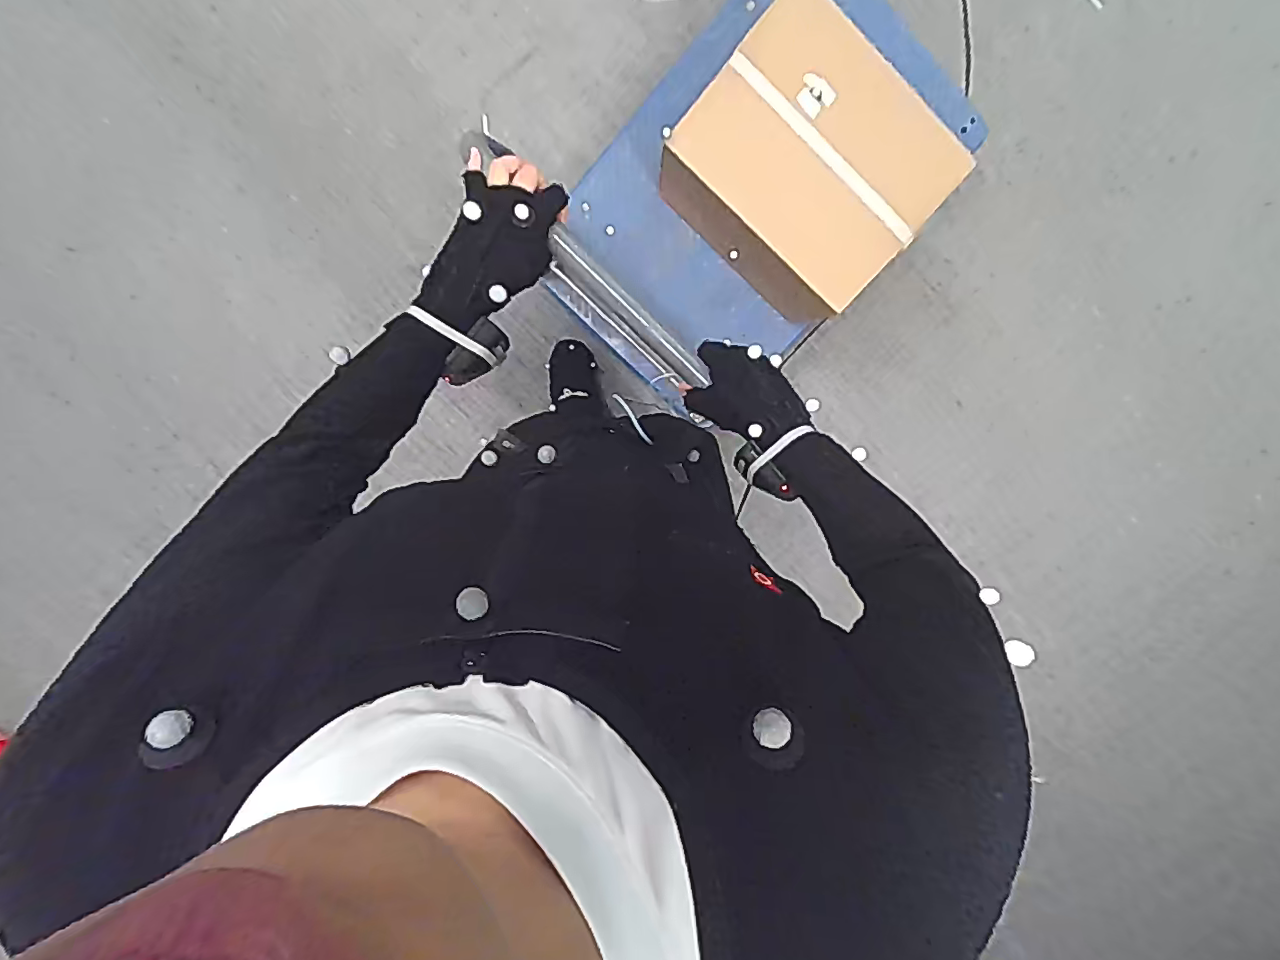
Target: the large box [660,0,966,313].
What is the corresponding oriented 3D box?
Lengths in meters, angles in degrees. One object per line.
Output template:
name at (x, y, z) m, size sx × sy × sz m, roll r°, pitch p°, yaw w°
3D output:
large box at (0.285, -0.570, 1.016) m, size 0.408 × 0.320 × 0.320 m, roll 41°, pitch 100°, yaw -8°
